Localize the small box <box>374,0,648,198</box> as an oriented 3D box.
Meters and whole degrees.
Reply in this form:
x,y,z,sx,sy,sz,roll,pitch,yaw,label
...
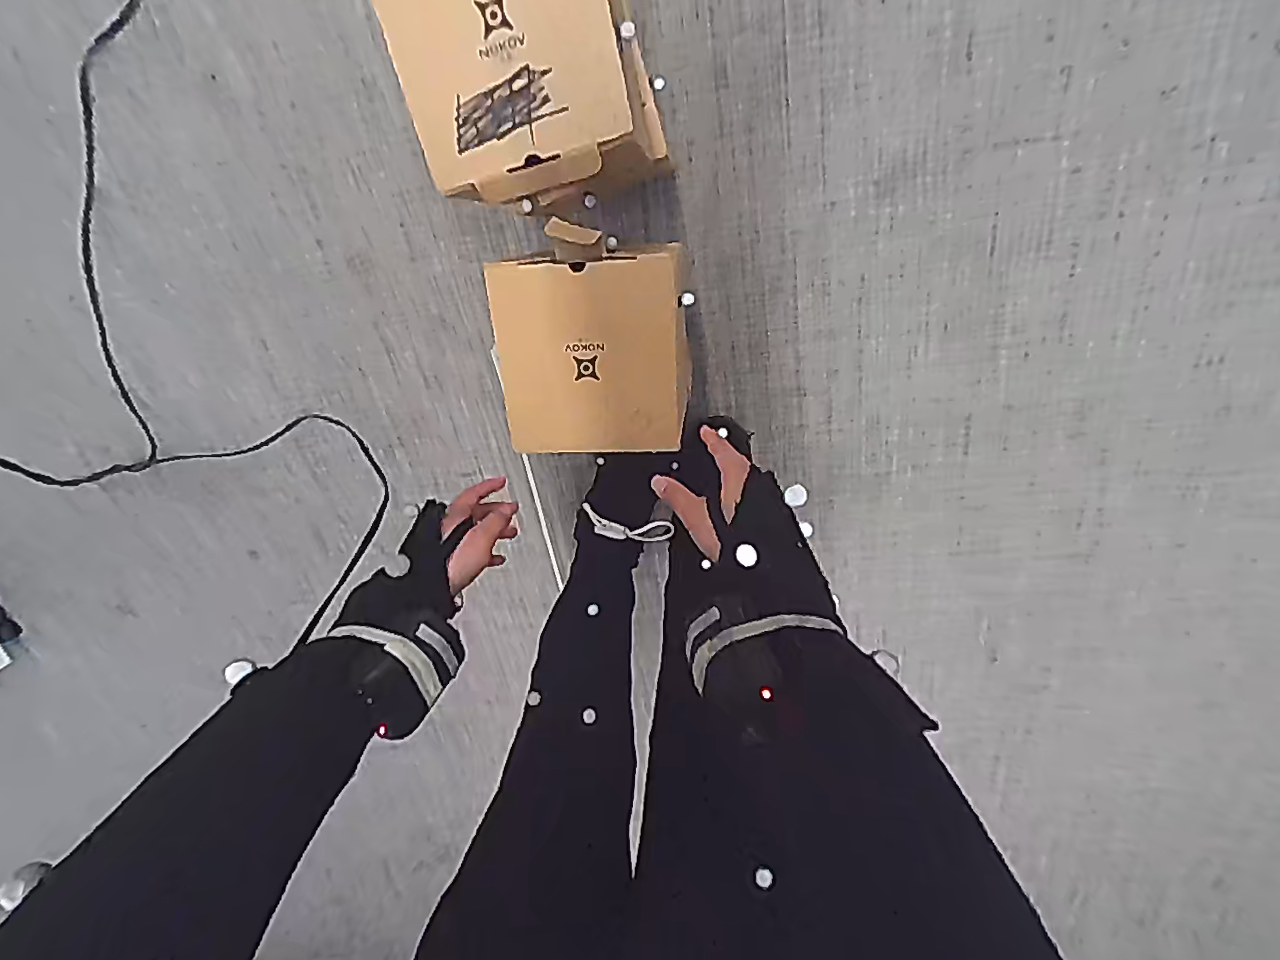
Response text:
x,y,z,sx,sy,sz,roll,pitch,yaw,label
-0.093,-0.353,0.461,0.168,0.176,0.179,-10,112,10,small box

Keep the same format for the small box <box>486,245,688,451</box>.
x,y,z,sx,sy,sz,roll,pitch,yaw,label
-0.037,-0.141,0.558,0.168,0.176,0.179,0,114,8,small box

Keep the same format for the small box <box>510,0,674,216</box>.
x,y,z,sx,sy,sz,roll,pitch,yaw,label
-0.069,-0.413,0.613,0.179,0.176,0.168,-15,112,13,small box
